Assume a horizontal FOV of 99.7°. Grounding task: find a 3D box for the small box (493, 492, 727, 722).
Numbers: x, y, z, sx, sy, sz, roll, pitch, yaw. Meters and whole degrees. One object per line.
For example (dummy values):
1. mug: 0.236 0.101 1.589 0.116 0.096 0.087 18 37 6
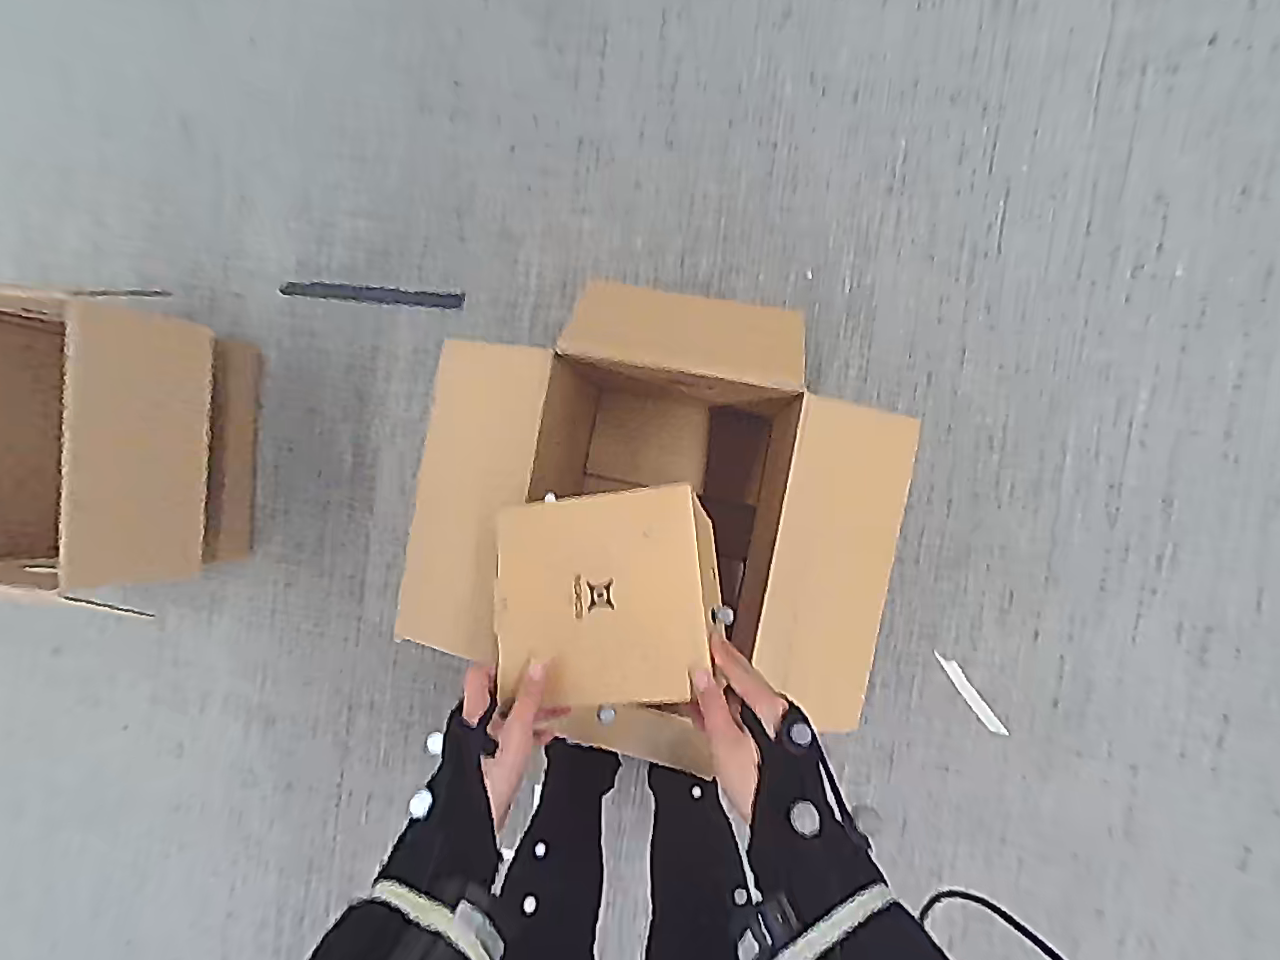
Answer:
1. small box: -0.017 0.117 0.499 0.179 0.176 0.168 -9 73 11
